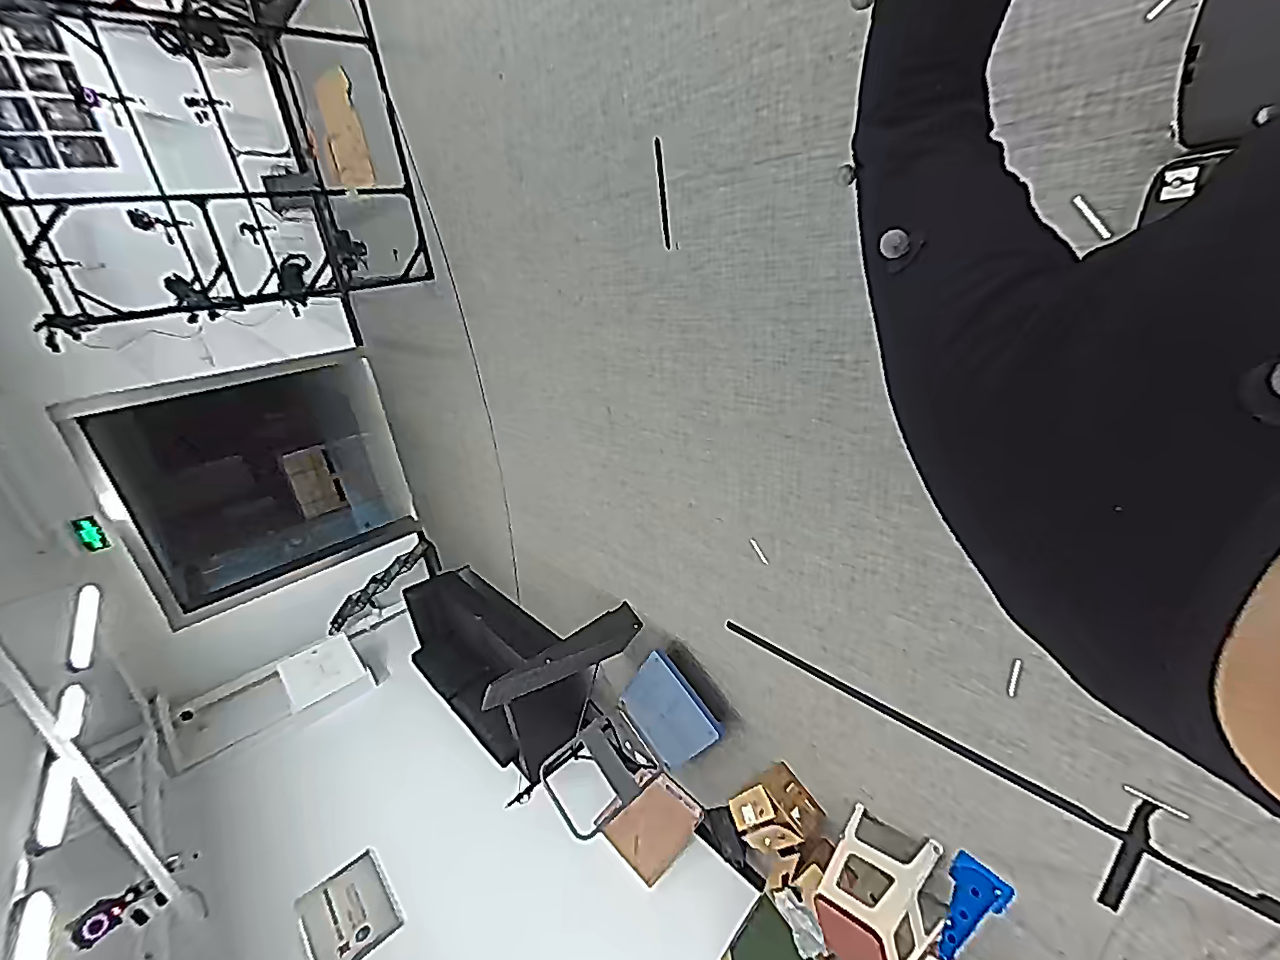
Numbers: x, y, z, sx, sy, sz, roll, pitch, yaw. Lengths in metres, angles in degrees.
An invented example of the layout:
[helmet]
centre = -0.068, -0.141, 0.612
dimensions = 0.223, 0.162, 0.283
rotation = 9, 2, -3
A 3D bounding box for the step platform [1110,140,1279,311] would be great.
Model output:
[step platform]
centre = 1.244, -0.443, 0.906
dimensions = 0.684, 0.204, 0.286
rotation = 18, 123, 48
